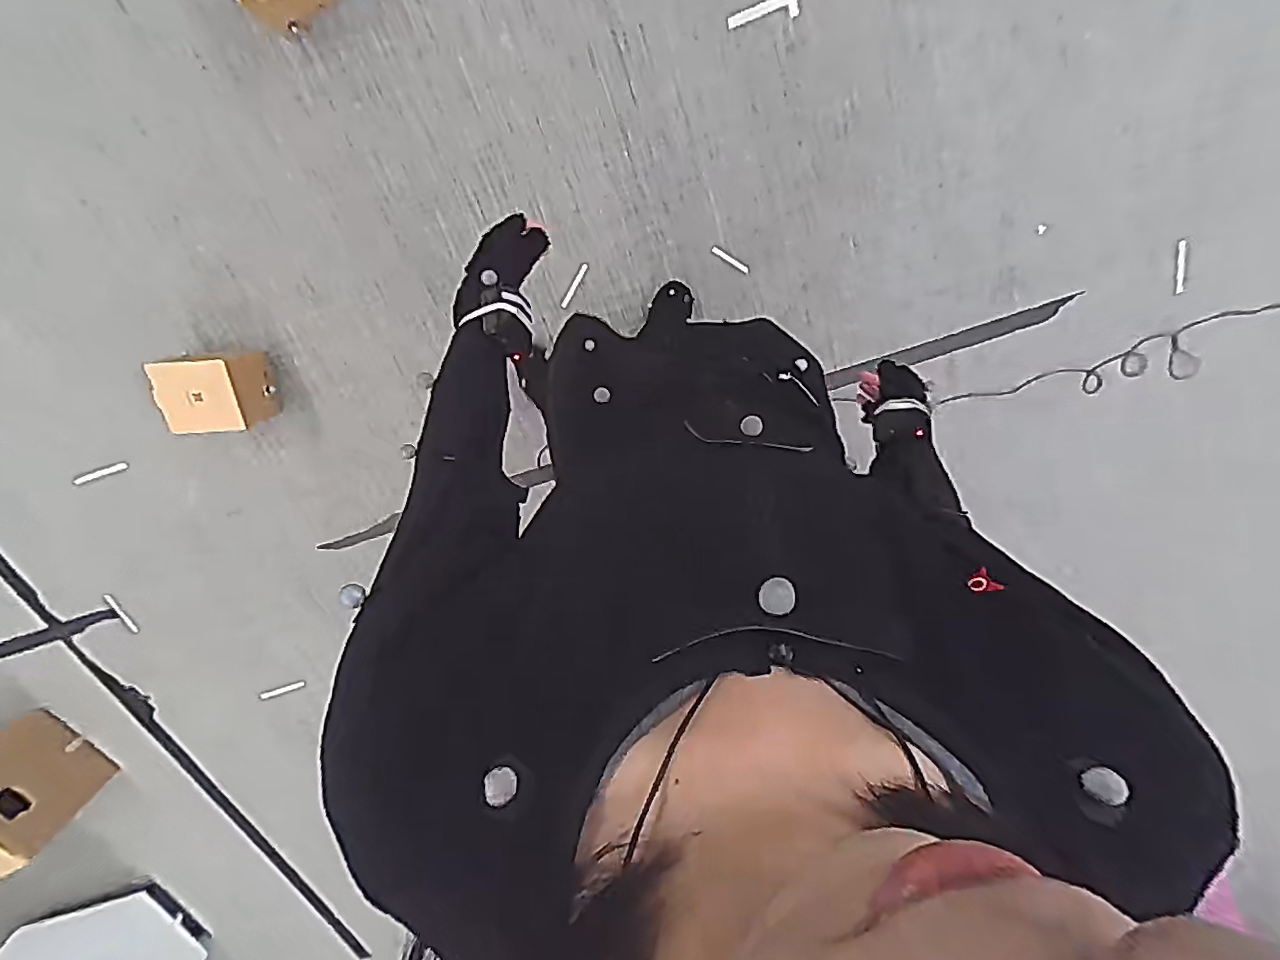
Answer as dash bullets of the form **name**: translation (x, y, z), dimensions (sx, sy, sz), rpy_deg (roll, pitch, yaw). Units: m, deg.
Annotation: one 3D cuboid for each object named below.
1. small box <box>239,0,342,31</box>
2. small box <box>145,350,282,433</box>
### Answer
- **small box**: translation (-0.707, -1.009, 1.031), dimensions (0.168, 0.176, 0.179), rpy_deg (-29, 109, 7)
- **small box**: translation (-1.015, -0.218, 1.303), dimensions (0.179, 0.176, 0.168), rpy_deg (-4, 112, -4)
